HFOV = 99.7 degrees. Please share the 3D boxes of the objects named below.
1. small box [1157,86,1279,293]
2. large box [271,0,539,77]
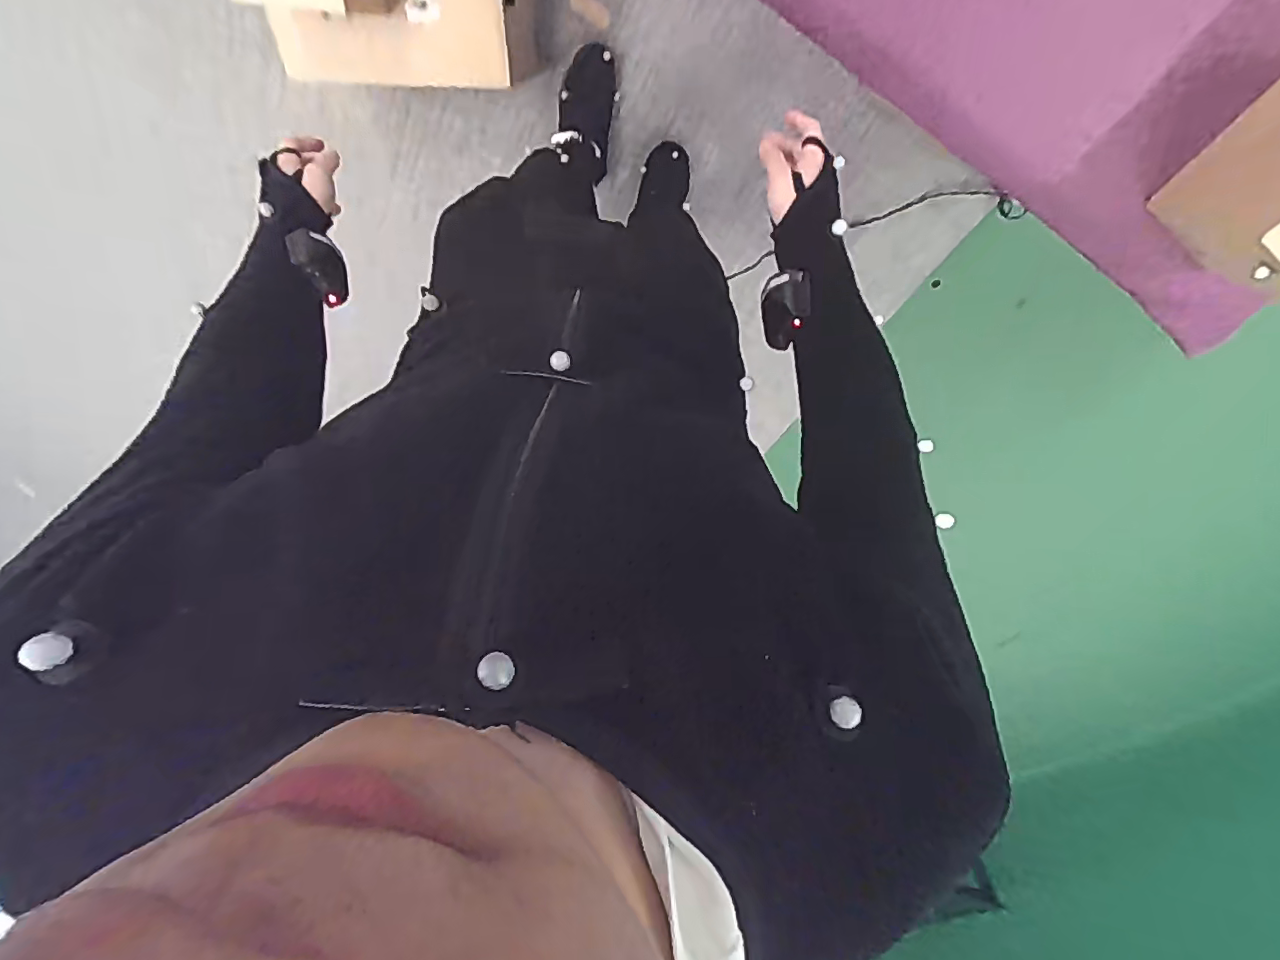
[{"bbox_3d":[0.753,-0.326,0.596,0.168,0.176,0.179,26,124,-18],"label":"small box"},{"bbox_3d":[-0.416,-0.935,0.977,0.408,0.320,0.320,1,131,-1],"label":"large box"}]
